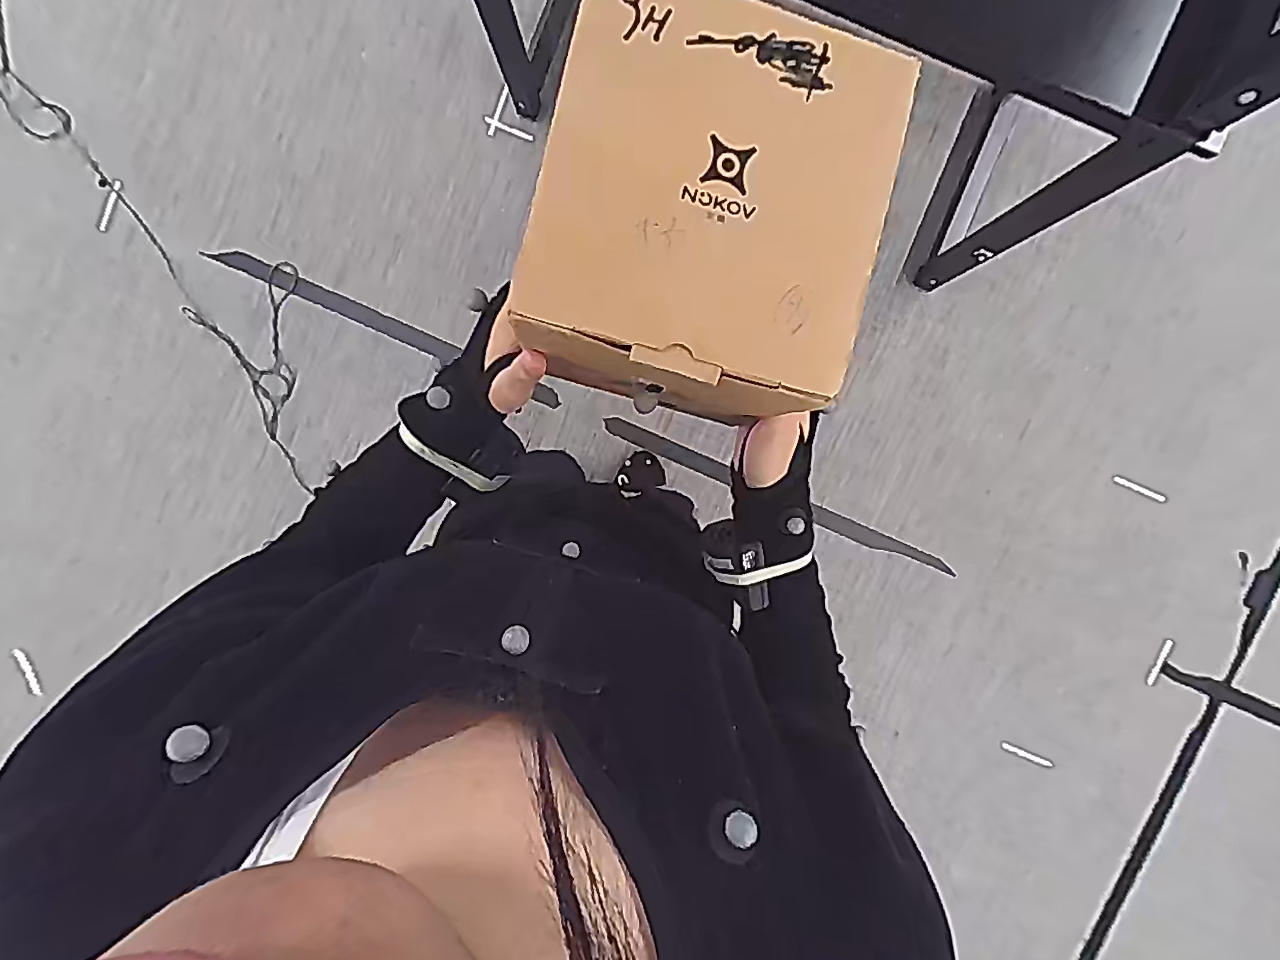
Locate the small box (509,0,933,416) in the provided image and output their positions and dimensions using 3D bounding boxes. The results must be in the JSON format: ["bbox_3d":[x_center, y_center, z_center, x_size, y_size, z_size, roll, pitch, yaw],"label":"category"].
[{"bbox_3d":[0.031,-0.142,0.327,0.168,0.176,0.179,14,91,-8],"label":"small box"}]

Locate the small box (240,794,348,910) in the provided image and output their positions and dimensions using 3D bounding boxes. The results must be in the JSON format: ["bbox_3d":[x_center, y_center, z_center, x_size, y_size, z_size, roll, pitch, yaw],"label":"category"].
[{"bbox_3d":[-0.922,0.993,1.459,0.168,0.176,0.179,17,94,-1],"label":"small box"}]
